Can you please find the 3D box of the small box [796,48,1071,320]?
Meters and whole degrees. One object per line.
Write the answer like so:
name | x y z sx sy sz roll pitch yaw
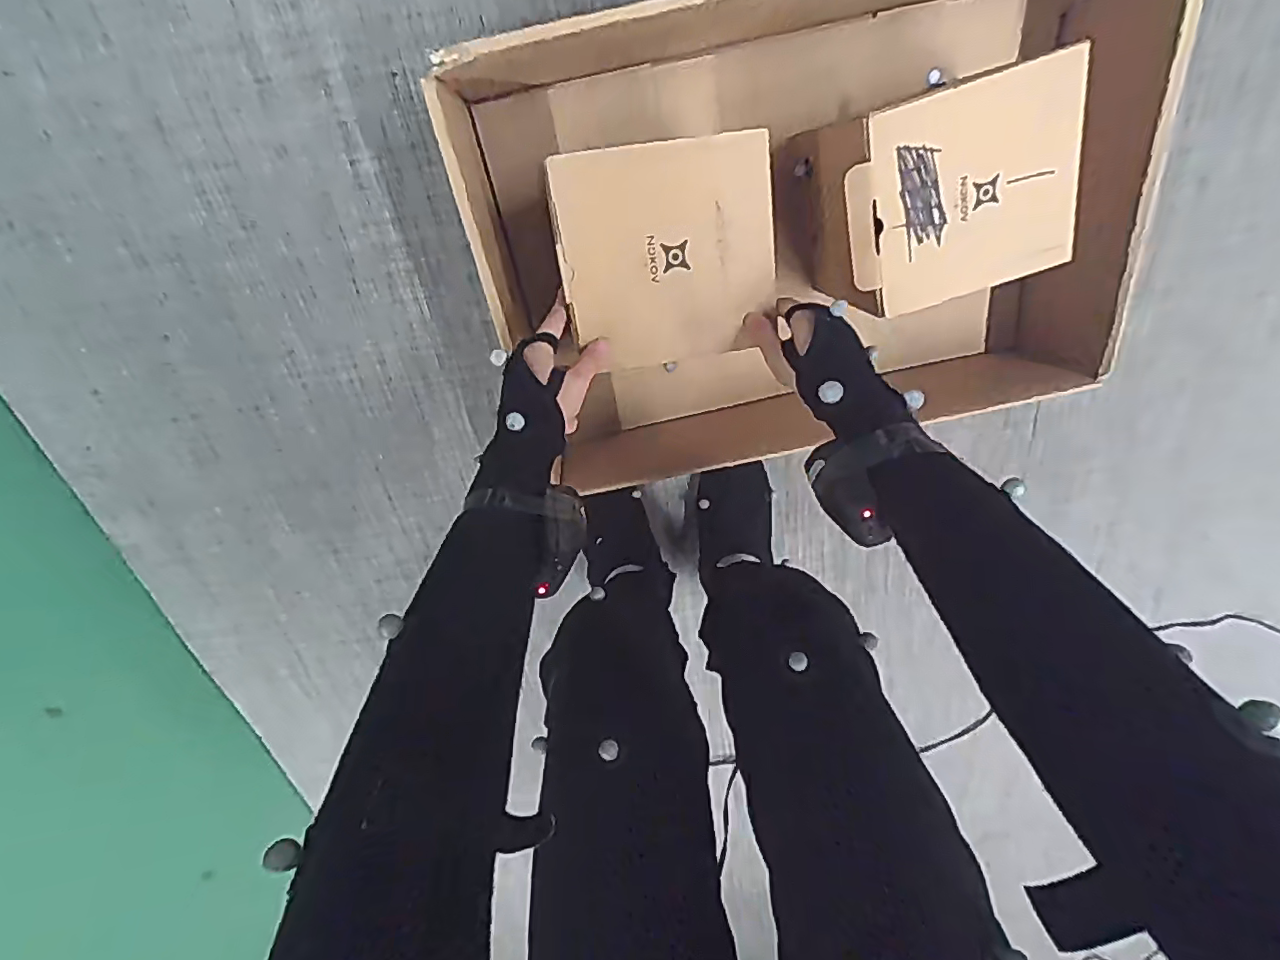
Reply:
small box | 0.265 -0.274 0.526 0.179 0.176 0.168 -18 118 4

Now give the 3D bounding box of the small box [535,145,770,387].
small box | 0.007 -0.193 0.513 0.179 0.176 0.168 -11 110 -5
